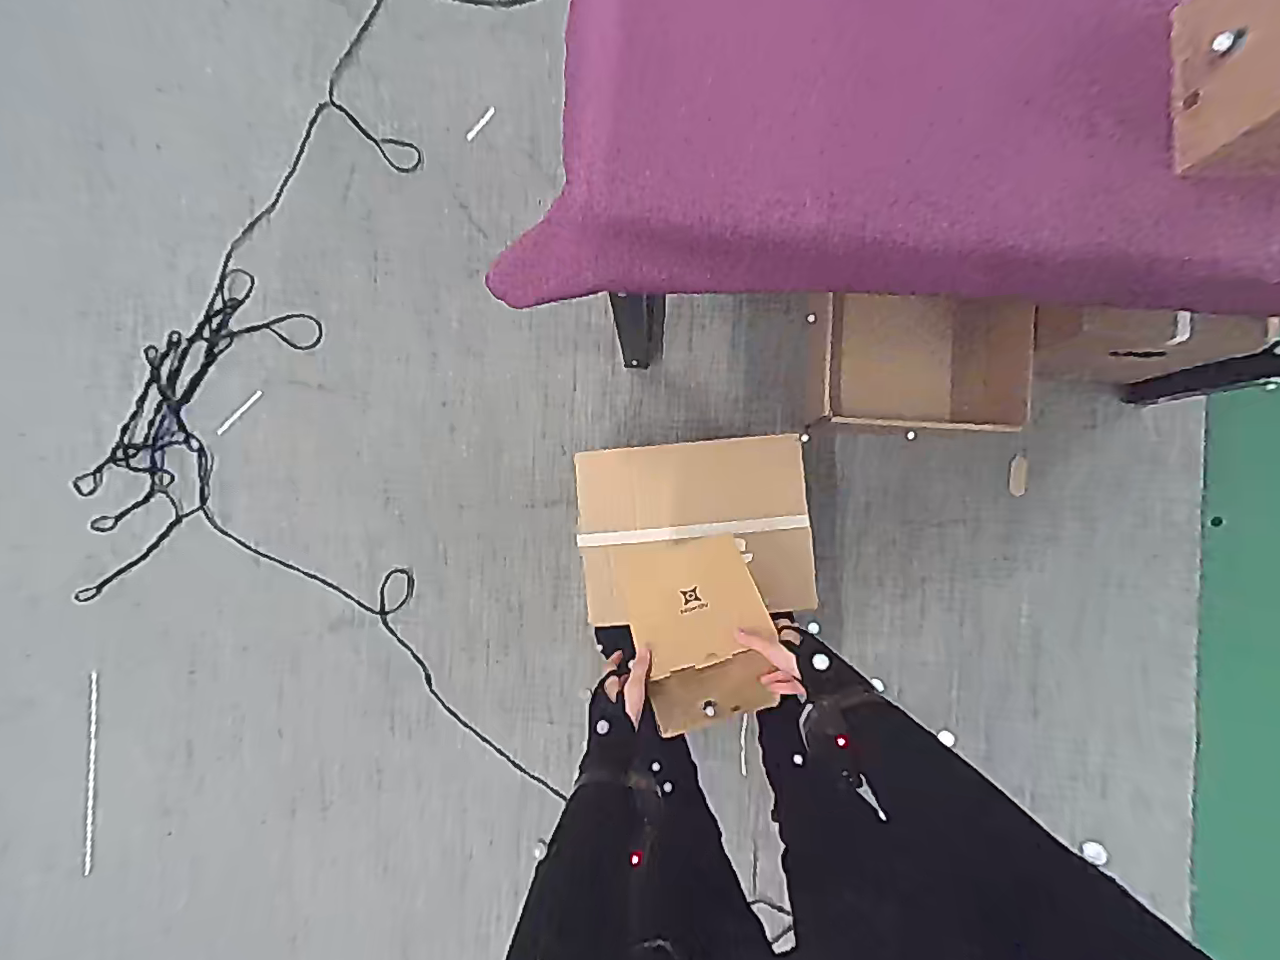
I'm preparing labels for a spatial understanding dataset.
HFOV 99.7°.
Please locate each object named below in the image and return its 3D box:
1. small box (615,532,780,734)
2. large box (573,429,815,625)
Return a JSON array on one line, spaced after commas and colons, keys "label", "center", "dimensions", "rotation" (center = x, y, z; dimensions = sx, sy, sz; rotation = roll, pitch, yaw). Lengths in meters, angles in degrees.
[{"label": "small box", "center": [0.073, 0.203, 0.719], "dimensions": [0.168, 0.176, 0.179], "rotation": [-15, 44, -3]}, {"label": "large box", "center": [0.094, 0.088, 1.094], "dimensions": [0.408, 0.320, 0.320], "rotation": [-5, 88, 1]}]
